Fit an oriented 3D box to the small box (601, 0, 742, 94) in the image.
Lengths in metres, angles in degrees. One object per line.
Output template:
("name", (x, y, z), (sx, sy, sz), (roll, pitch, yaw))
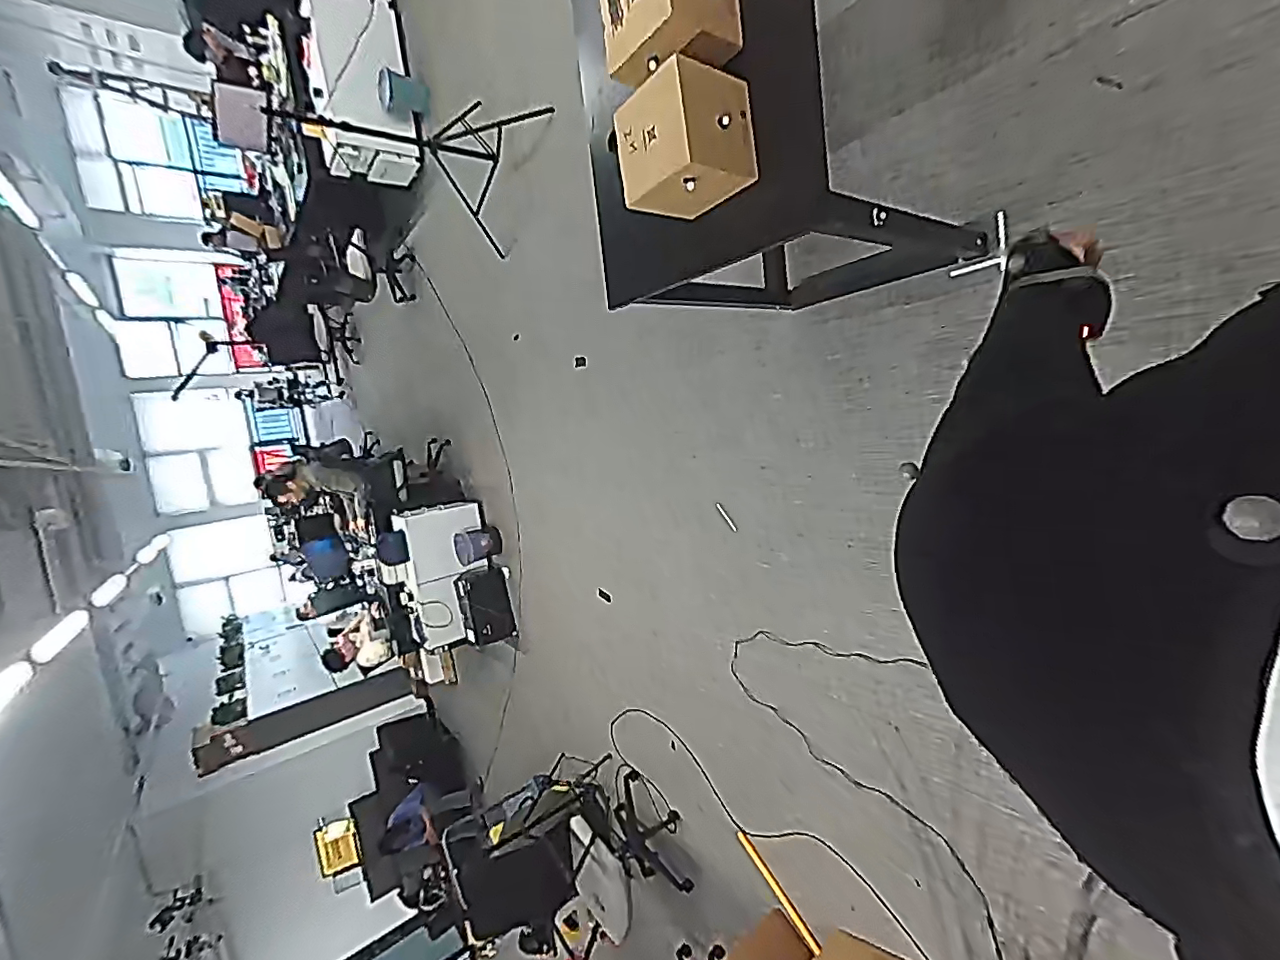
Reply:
("small box", (0.051, -0.809, 0.930), (0.179, 0.176, 0.168), (1, 101, 53))
